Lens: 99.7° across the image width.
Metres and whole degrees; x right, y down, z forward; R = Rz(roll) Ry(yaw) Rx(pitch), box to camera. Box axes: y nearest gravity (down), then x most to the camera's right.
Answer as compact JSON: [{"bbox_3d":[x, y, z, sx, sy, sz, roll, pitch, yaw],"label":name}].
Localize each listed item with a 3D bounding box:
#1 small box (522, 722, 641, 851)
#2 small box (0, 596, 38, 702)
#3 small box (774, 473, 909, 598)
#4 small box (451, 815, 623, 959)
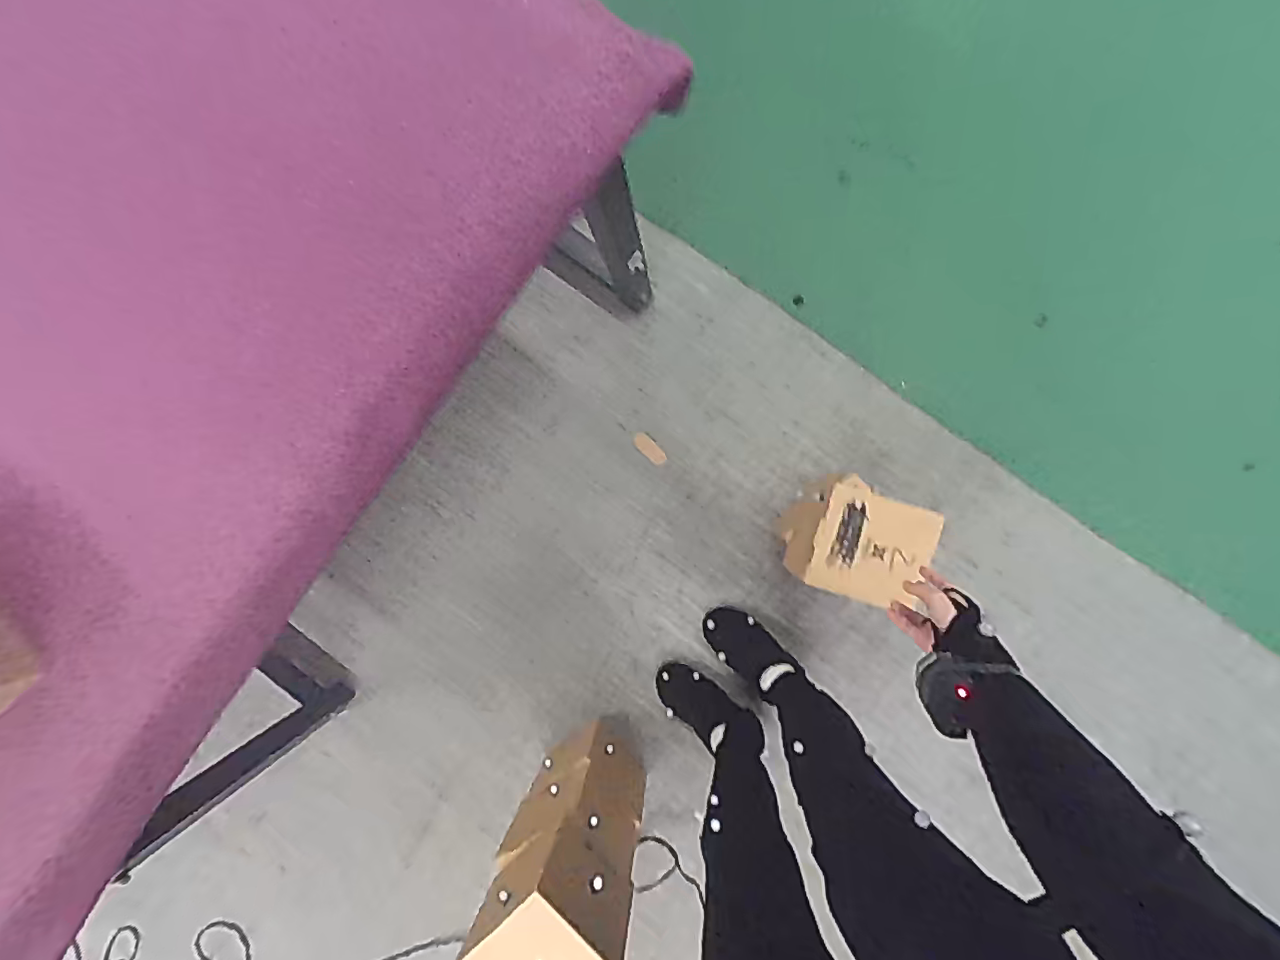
[{"bbox_3d":[-0.115,0.643,1.140,0.168,0.176,0.179,-37,90,6],"label":"small box"},{"bbox_3d":[-0.673,0.163,0.433,0.179,0.176,0.168,-39,89,4],"label":"small box"},{"bbox_3d":[0.385,0.102,1.076,0.179,0.176,0.168,-43,89,5],"label":"small box"},{"bbox_3d":[-0.140,0.659,0.814,0.179,0.176,0.168,-44,87,6],"label":"small box"}]
